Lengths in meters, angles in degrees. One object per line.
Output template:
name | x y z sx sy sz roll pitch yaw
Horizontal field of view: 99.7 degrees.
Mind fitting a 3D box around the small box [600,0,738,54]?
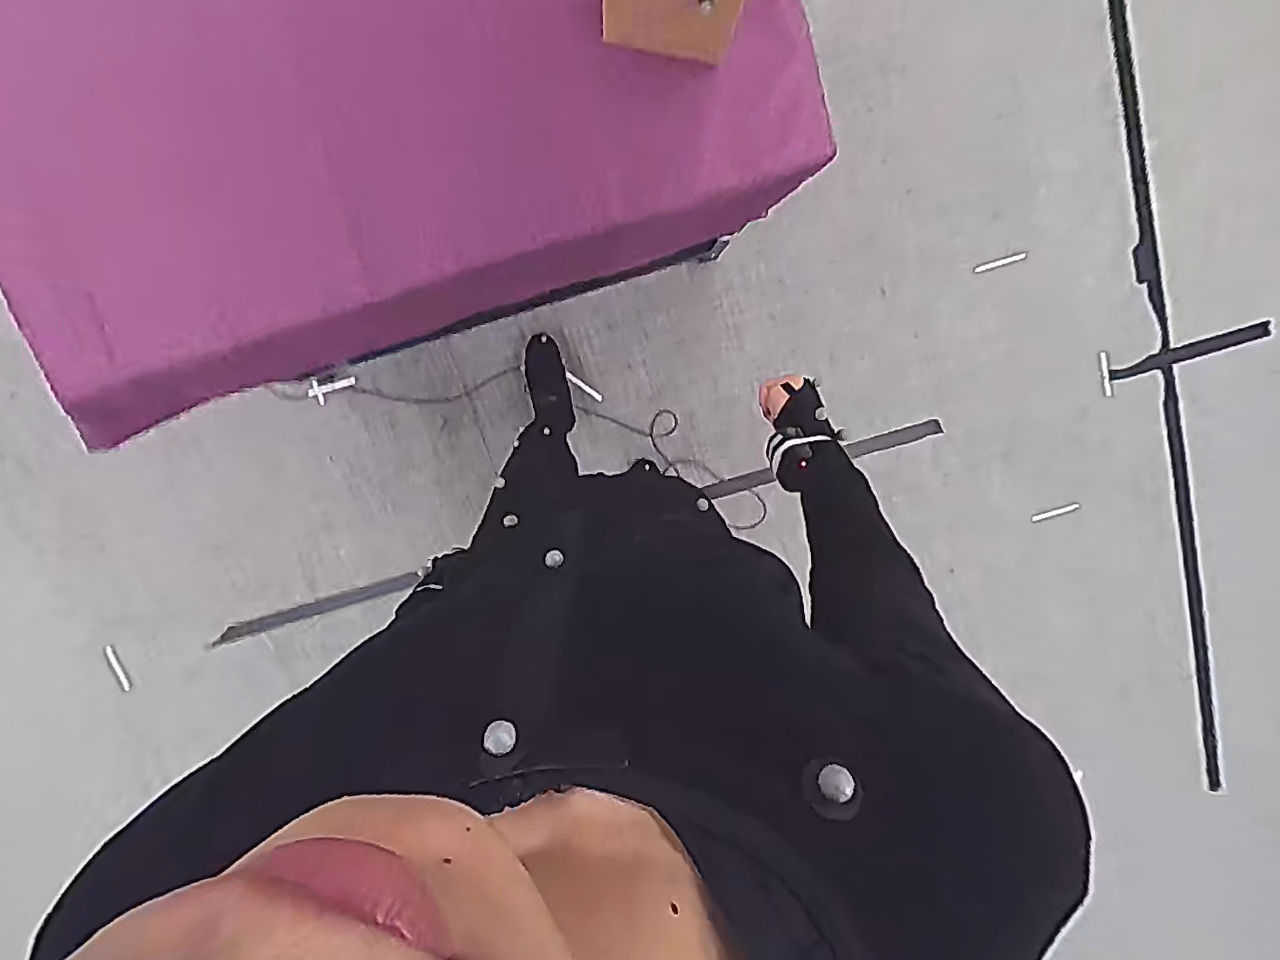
small box | 0.046 -0.678 0.675 0.179 0.176 0.168 8 100 -5
